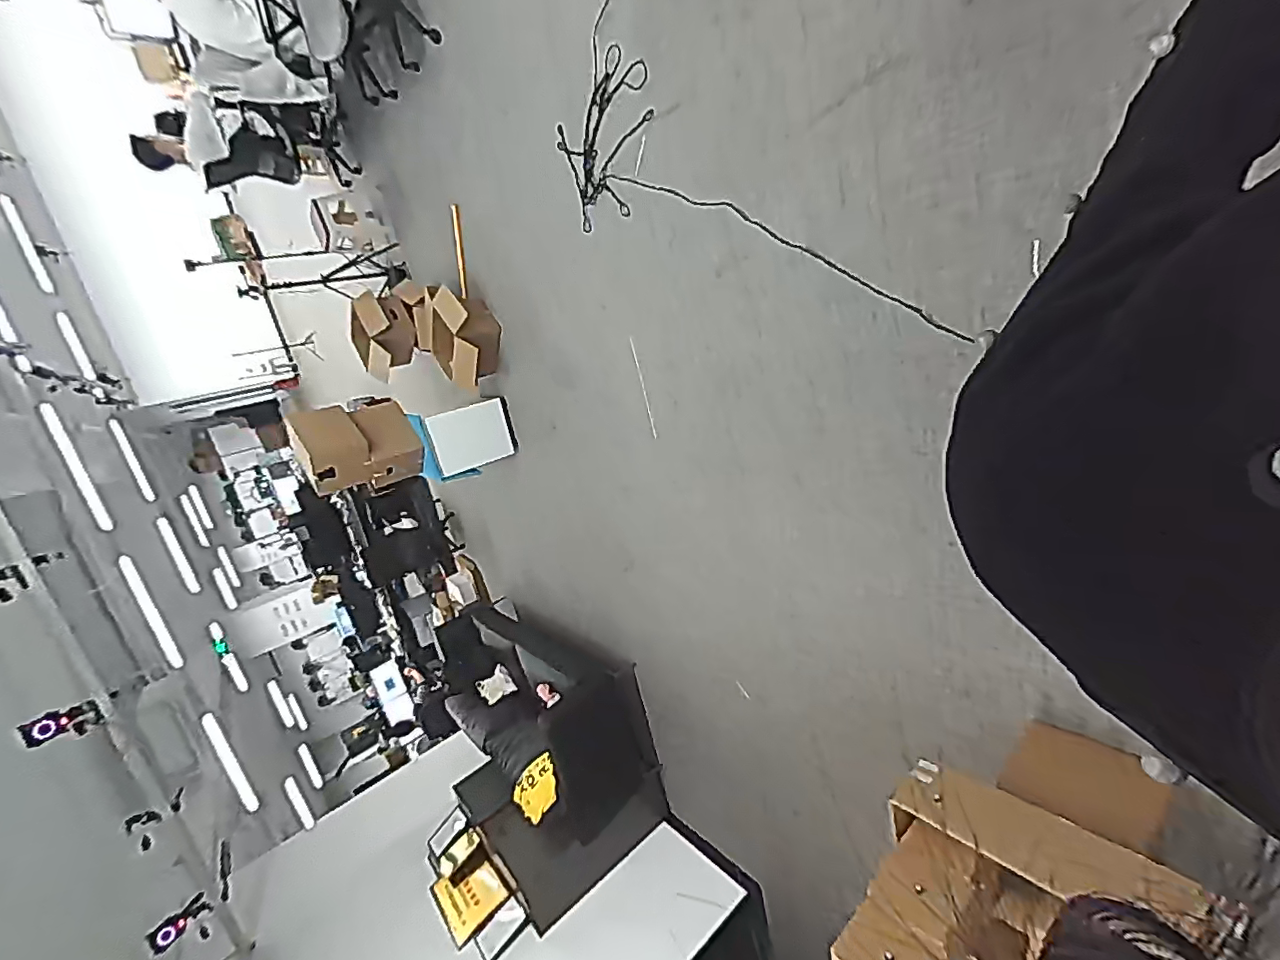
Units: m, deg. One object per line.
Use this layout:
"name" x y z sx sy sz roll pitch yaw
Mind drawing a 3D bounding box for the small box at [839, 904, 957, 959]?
"small box" 0.556 1.070 1.164 0.179 0.176 0.168 12 119 51
